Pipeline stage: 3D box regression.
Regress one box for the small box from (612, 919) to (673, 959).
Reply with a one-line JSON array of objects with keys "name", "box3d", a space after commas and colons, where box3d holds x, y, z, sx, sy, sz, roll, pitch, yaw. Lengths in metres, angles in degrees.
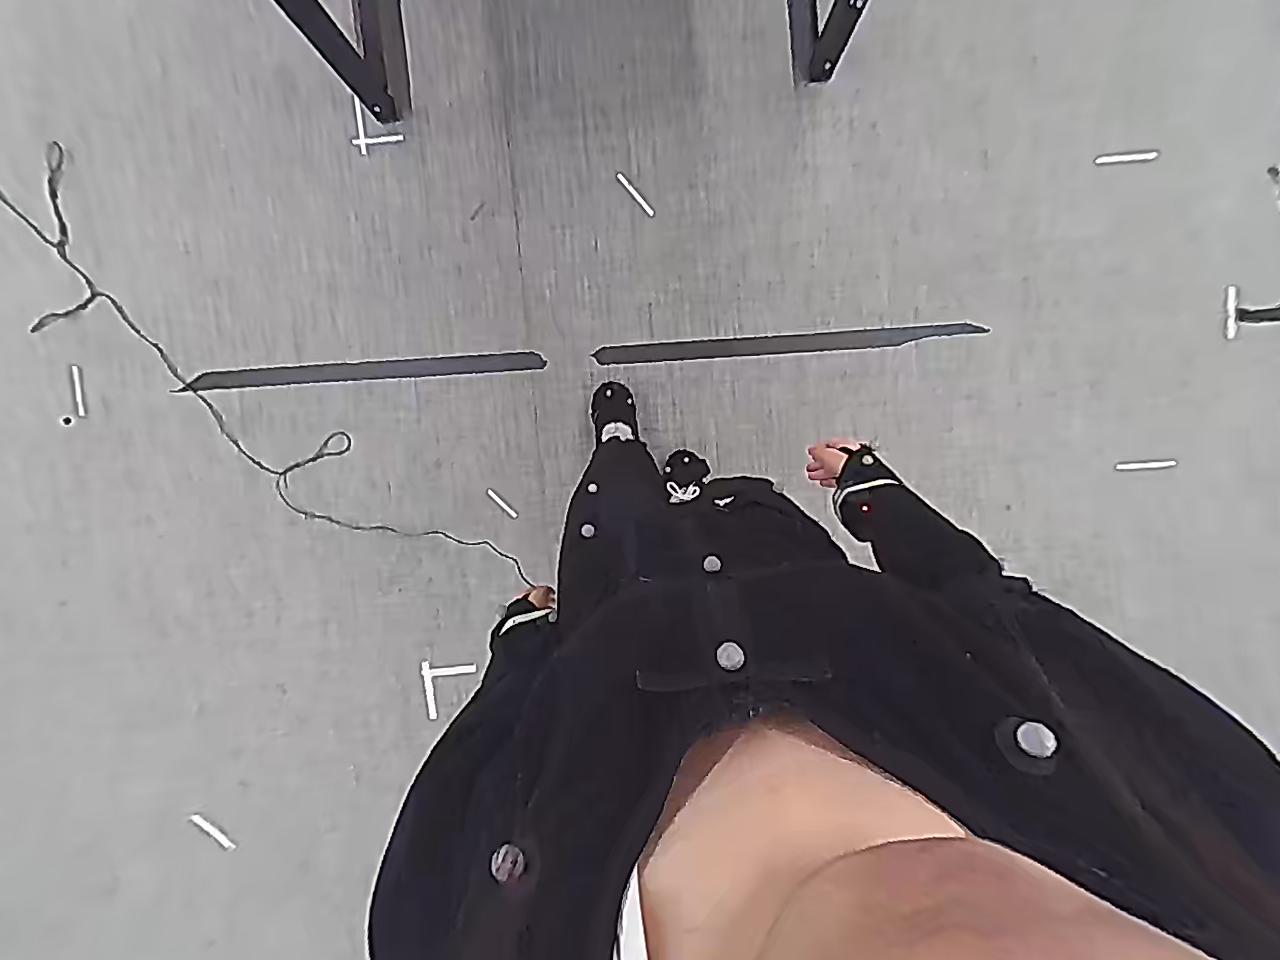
[{"name": "small box", "box3d": [0.009, 1.384, 1.525, 0.168, 0.176, 0.179, -6, 94, 2]}]
